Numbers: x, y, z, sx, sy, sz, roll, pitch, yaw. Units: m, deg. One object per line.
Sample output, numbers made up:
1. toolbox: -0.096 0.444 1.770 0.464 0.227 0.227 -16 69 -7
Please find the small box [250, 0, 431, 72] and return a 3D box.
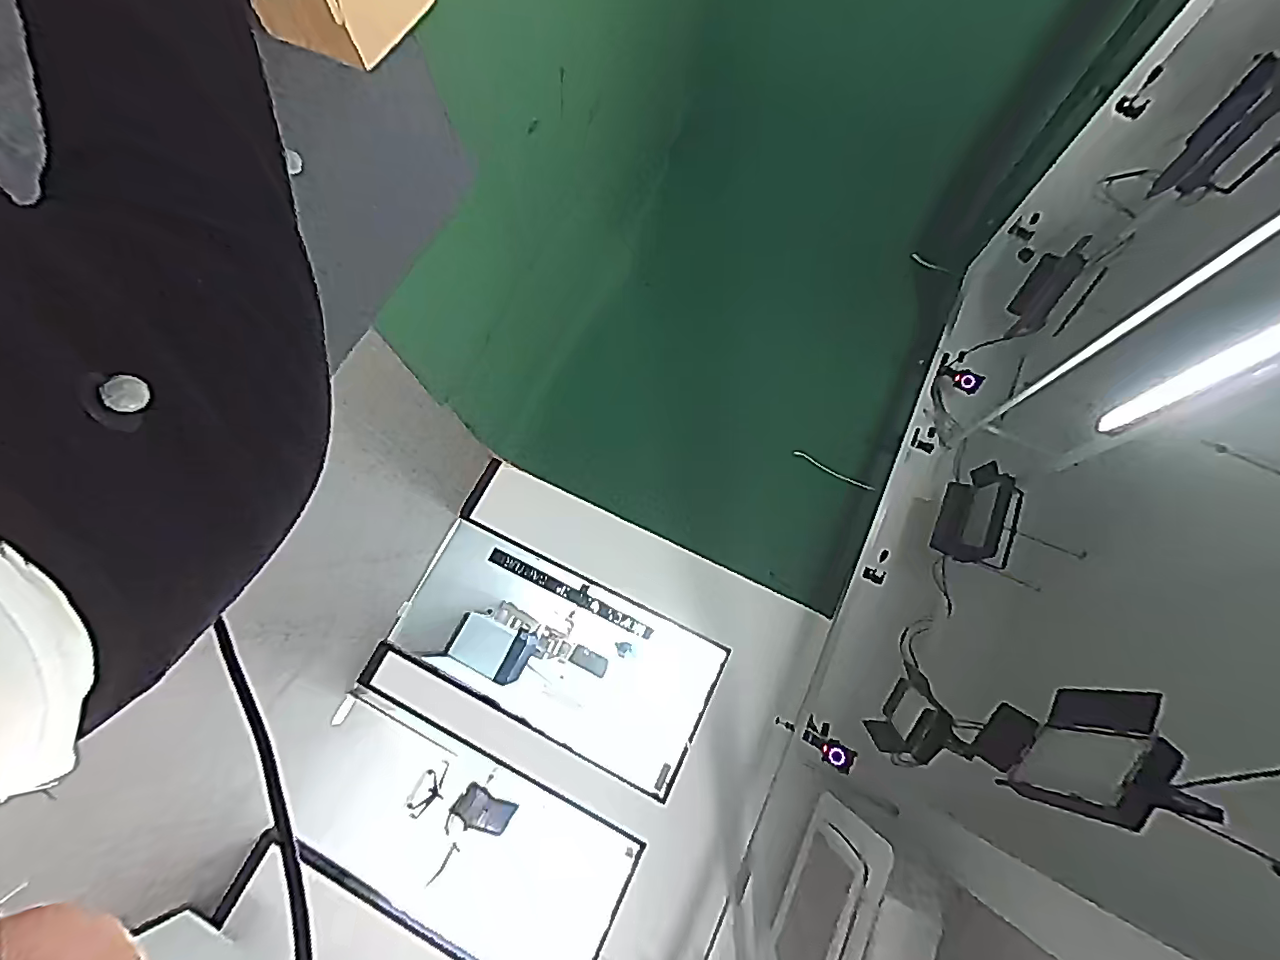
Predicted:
1. small box: -0.417 -0.691 0.705 0.179 0.176 0.168 -60 171 -19
